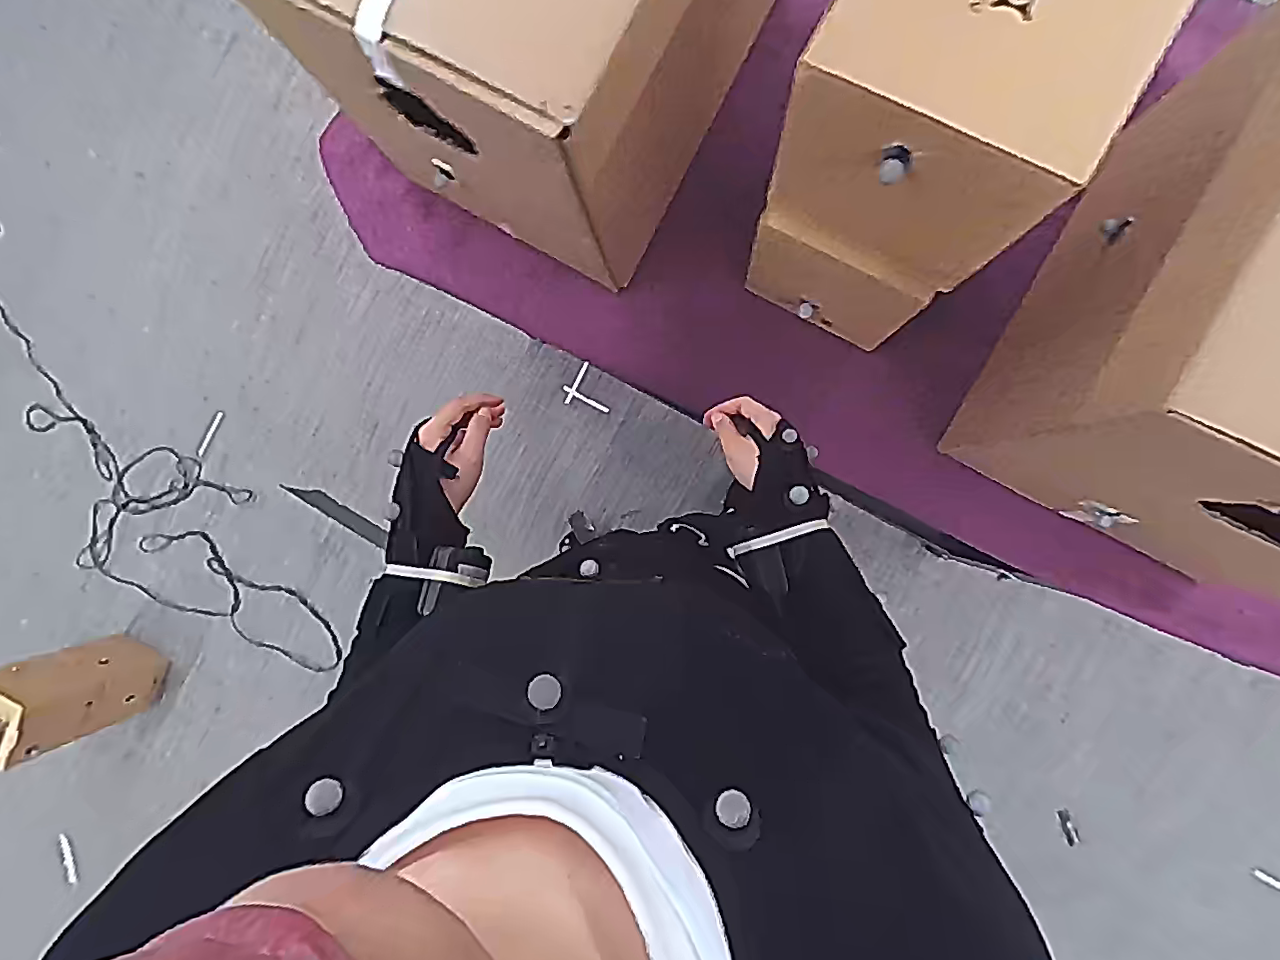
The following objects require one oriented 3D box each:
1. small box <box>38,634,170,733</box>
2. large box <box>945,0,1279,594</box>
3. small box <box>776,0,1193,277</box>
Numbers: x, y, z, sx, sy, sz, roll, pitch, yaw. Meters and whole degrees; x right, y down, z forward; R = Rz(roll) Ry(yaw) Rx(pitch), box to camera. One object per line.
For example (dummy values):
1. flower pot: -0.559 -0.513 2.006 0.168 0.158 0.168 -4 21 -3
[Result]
1. small box: -1.455 0.546 1.480 0.179 0.176 0.168 28 93 7
2. large box: 0.541 -0.138 0.439 0.320 0.320 0.408 29 92 6
3. small box: 0.218 -0.271 0.383 0.179 0.176 0.168 30 93 7
